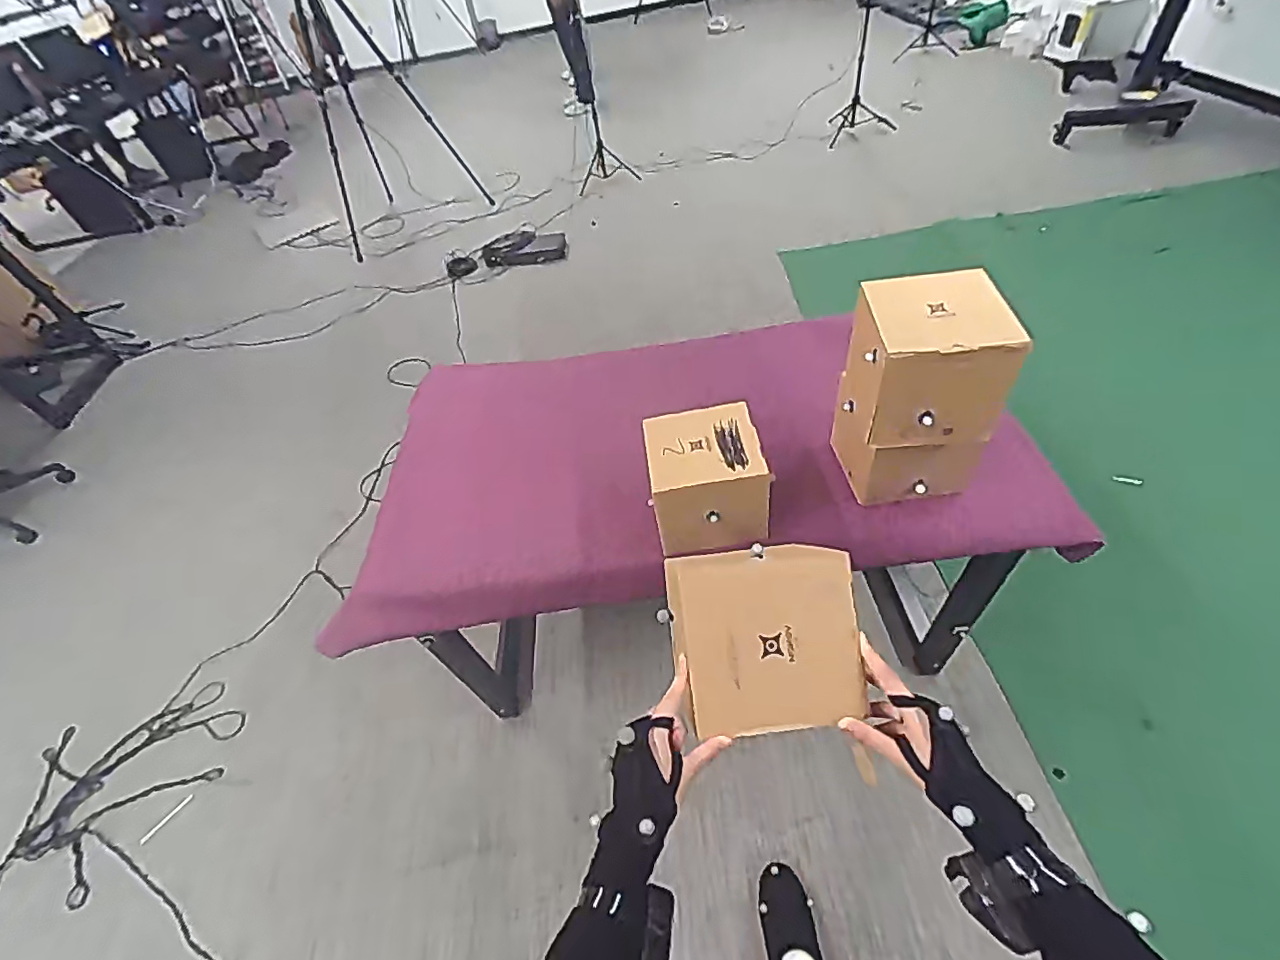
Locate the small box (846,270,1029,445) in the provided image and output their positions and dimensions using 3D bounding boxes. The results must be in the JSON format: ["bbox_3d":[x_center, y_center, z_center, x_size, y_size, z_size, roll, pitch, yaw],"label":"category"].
[{"bbox_3d":[0.400,-0.171,0.767,0.168,0.176,0.179,-4,49,9],"label":"small box"}]

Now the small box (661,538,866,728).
[{"bbox_3d":[0.123,0.156,0.605,0.179,0.176,0.168,-6,85,-2],"label":"small box"}]

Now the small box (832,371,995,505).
[{"bbox_3d":[0.438,-0.079,0.899,0.179,0.176,0.168,-9,46,4],"label":"small box"}]
